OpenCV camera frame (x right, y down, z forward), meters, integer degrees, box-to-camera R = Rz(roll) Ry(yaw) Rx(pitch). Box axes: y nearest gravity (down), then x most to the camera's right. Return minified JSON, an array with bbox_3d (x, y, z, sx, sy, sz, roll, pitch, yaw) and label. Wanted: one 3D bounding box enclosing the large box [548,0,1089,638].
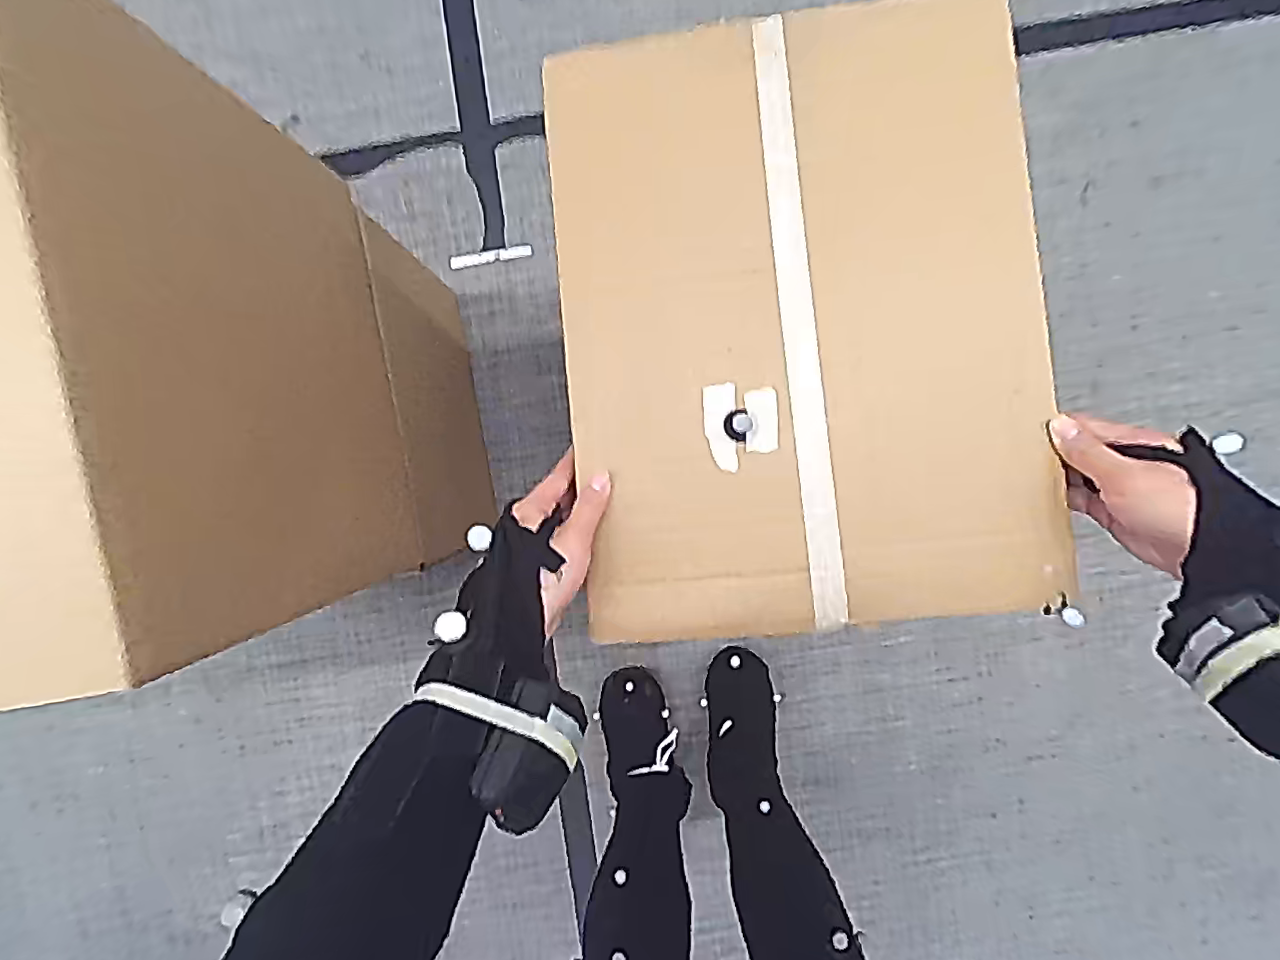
[{"bbox_3d":[0.119,-0.104,0.505,0.320,0.320,0.408,-6,88,4],"label":"large box"}]
